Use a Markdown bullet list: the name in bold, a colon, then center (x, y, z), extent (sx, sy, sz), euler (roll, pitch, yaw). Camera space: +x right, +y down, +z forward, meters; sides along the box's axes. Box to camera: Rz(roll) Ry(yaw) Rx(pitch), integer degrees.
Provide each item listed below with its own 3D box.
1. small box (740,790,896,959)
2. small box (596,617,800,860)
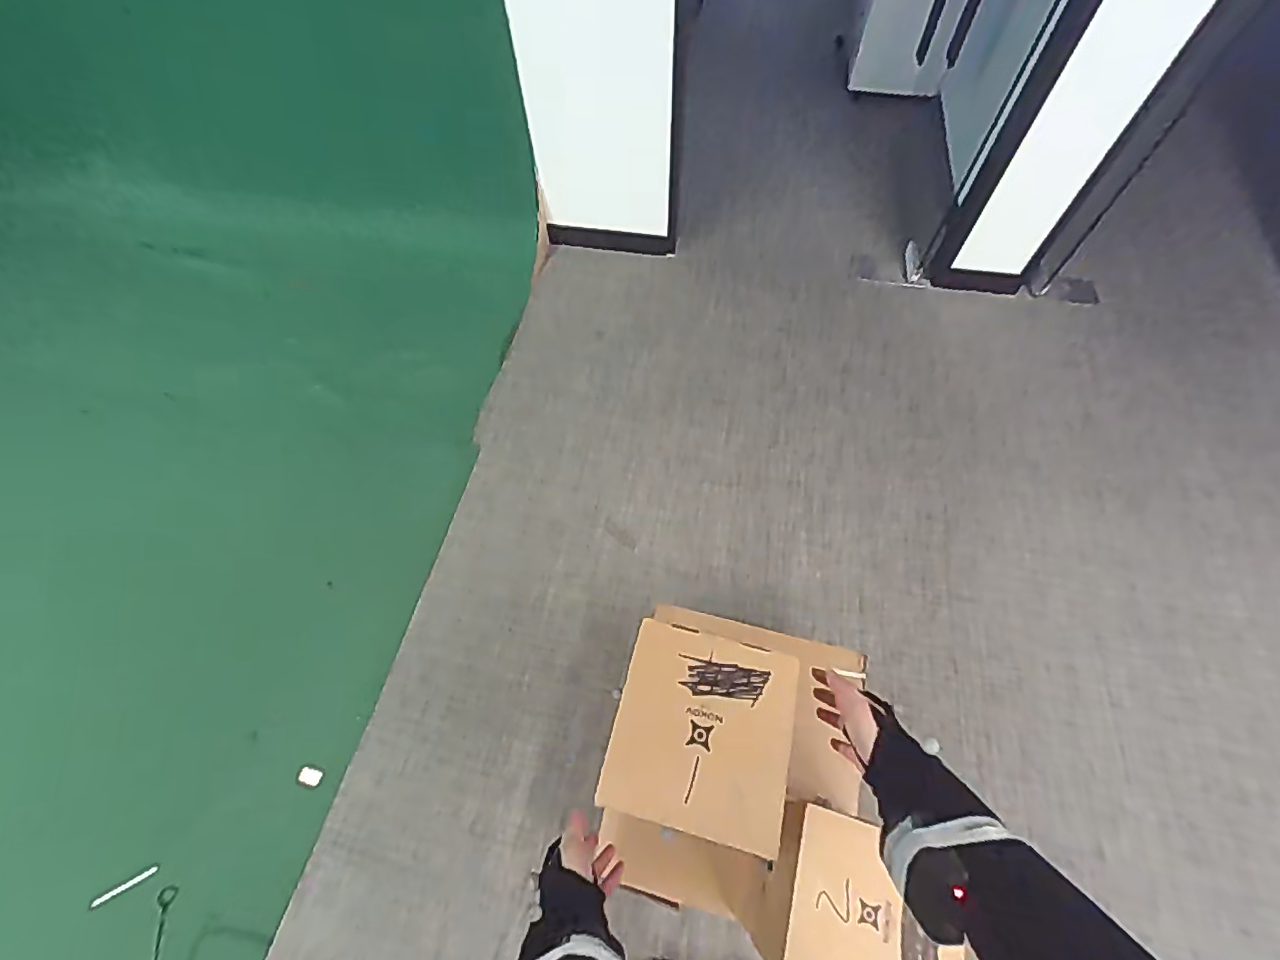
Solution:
- **small box**: center (0.247, 0.567, 0.772), extent (0.168, 0.176, 0.179), euler (14, 59, 9)
- **small box**: center (0.060, 0.271, 0.576), extent (0.168, 0.176, 0.179), euler (12, 61, 9)
